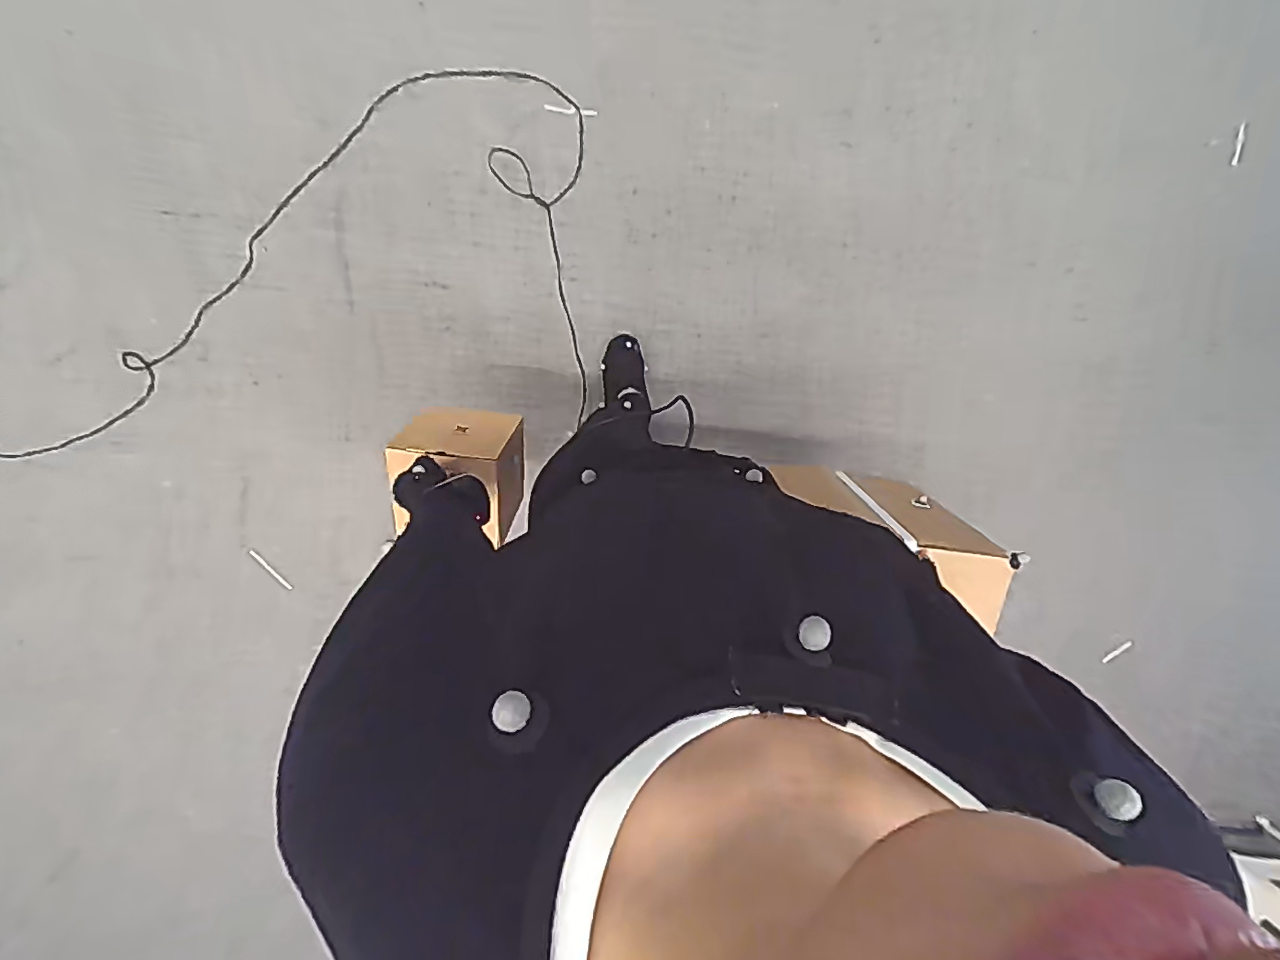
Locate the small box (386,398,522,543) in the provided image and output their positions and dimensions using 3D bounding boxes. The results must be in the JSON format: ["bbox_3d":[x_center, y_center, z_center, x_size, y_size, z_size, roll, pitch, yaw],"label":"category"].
[{"bbox_3d":[-0.297,-0.019,0.899,0.168,0.179,0.176,6,121,-1],"label":"small box"}]
